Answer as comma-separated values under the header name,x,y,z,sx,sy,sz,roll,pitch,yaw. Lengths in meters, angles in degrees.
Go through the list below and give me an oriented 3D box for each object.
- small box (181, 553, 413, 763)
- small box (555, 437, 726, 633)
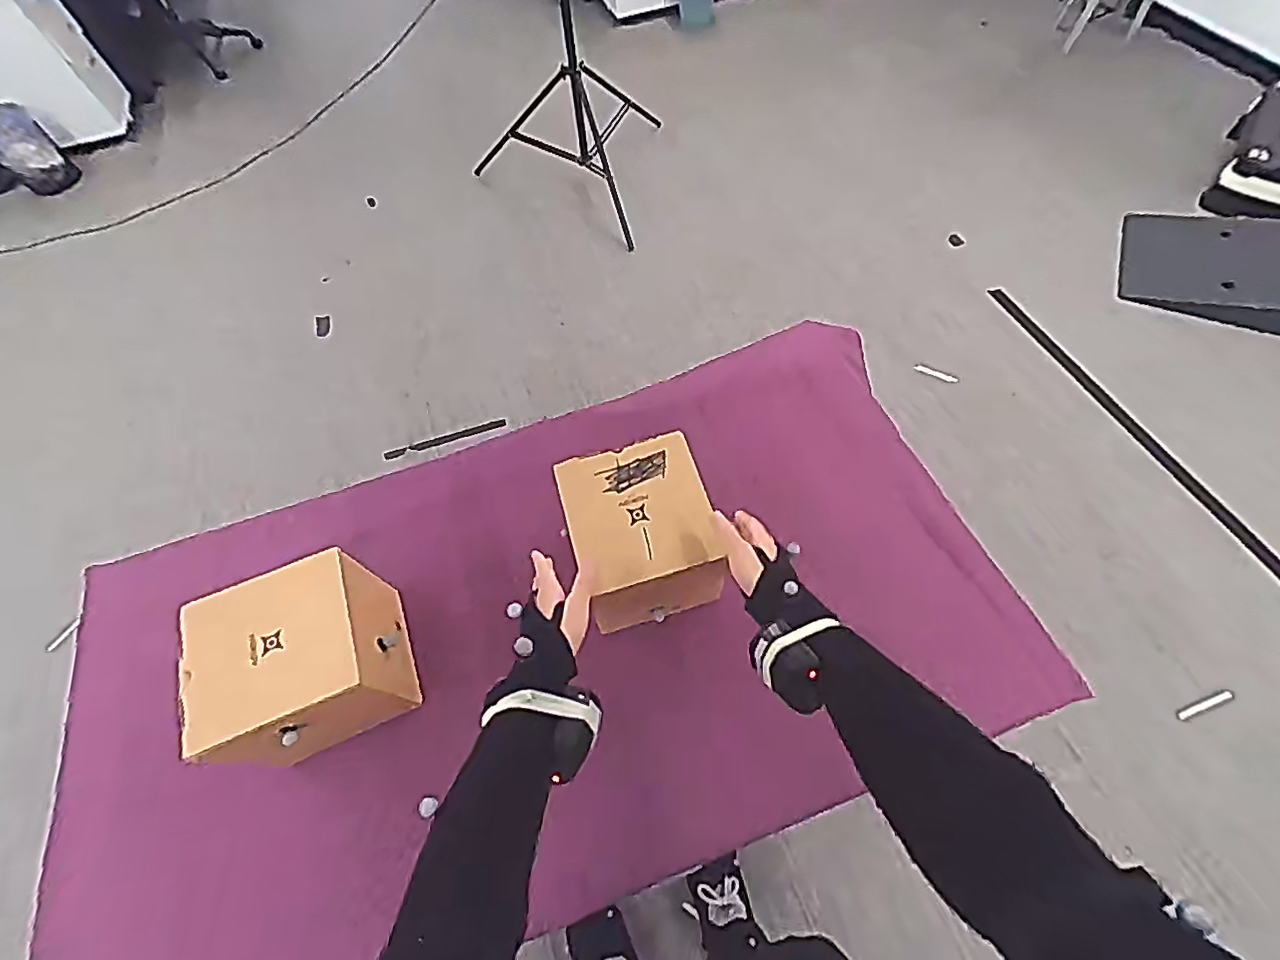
name,x,y,z,sx,sy,sz,roll,pitch,yaw
small box,-0.390,0.215,0.642,0.179,0.176,0.168,-22,63,-9
small box,-0.002,0.076,0.696,0.168,0.176,0.179,-15,62,-5
